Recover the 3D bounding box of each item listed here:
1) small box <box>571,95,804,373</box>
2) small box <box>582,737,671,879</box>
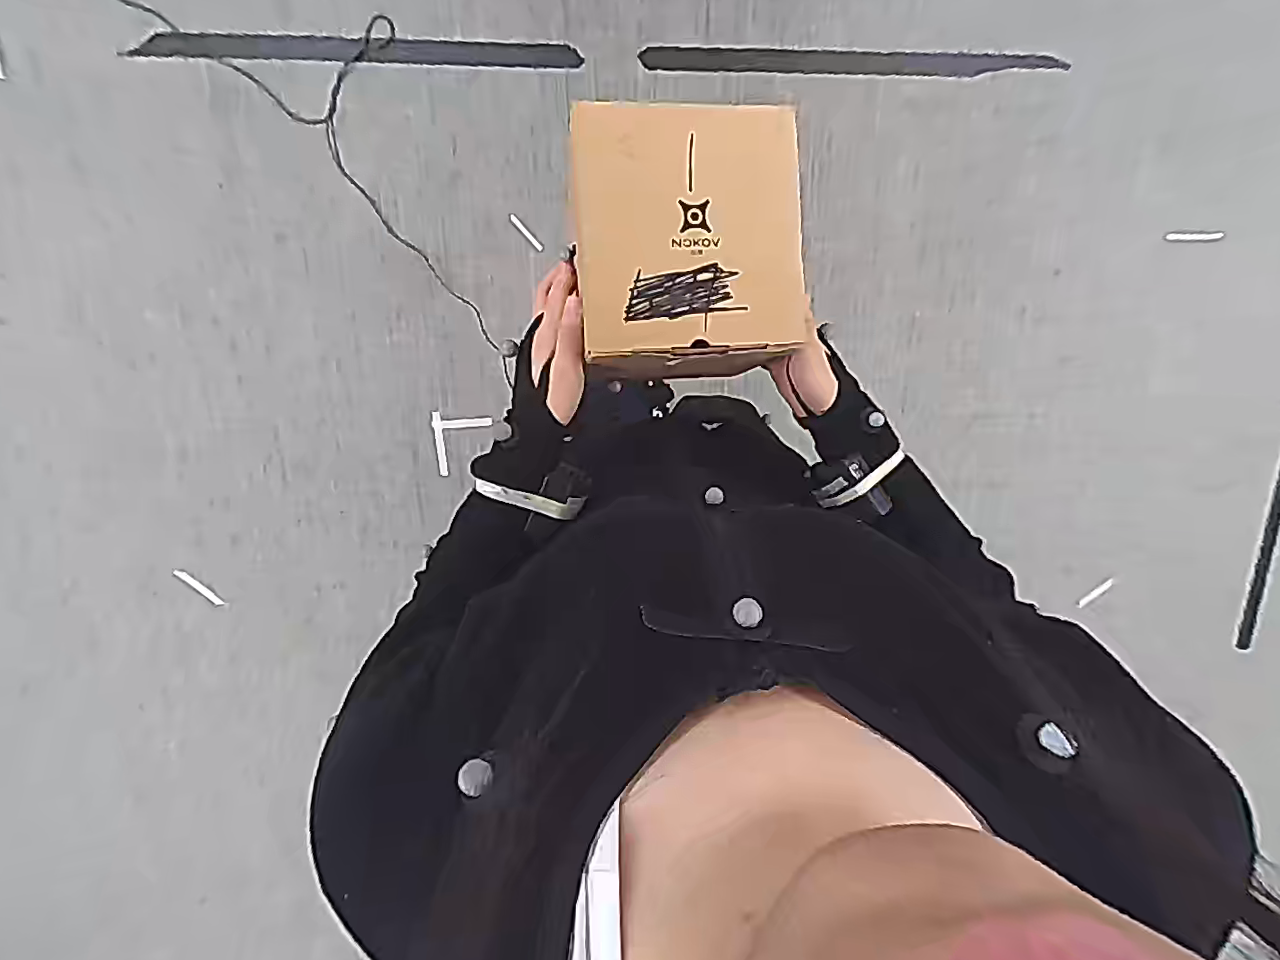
[{"bbox_3d":[0.028,-0.189,0.468,0.168,0.176,0.179,-4,92,-8],"label":"small box"},{"bbox_3d":[-0.026,0.642,1.072,0.168,0.176,0.179,-2,101,-3],"label":"small box"}]
